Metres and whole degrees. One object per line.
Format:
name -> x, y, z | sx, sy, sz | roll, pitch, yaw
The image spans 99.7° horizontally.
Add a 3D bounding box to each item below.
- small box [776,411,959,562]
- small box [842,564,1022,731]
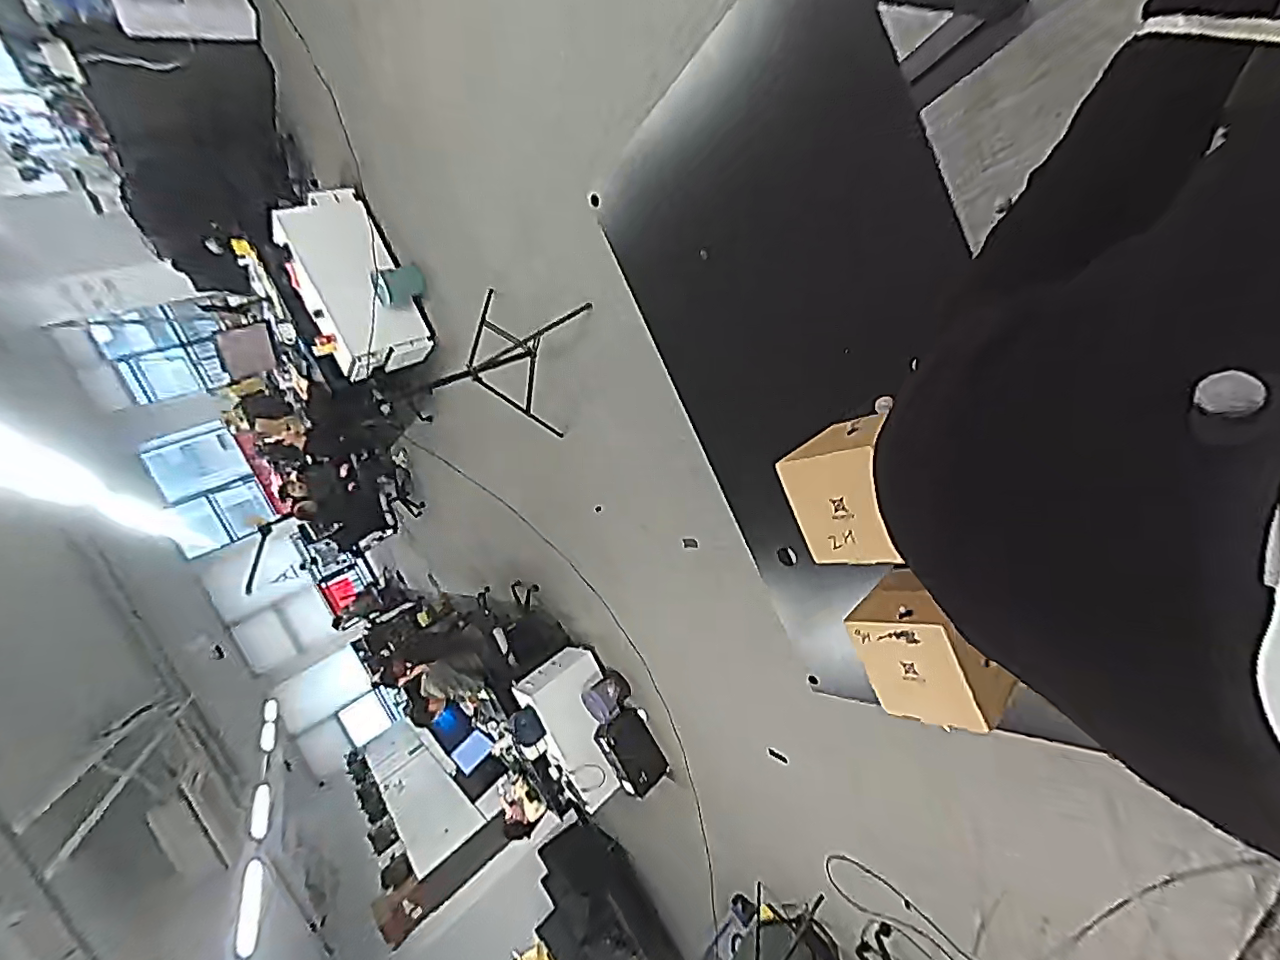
small box -> 0.346, 0.007, 0.821 | 0.168, 0.176, 0.179 | -13, 105, 57
small box -> 0.462, 0.252, 0.853 | 0.168, 0.176, 0.179 | -19, 99, 57
